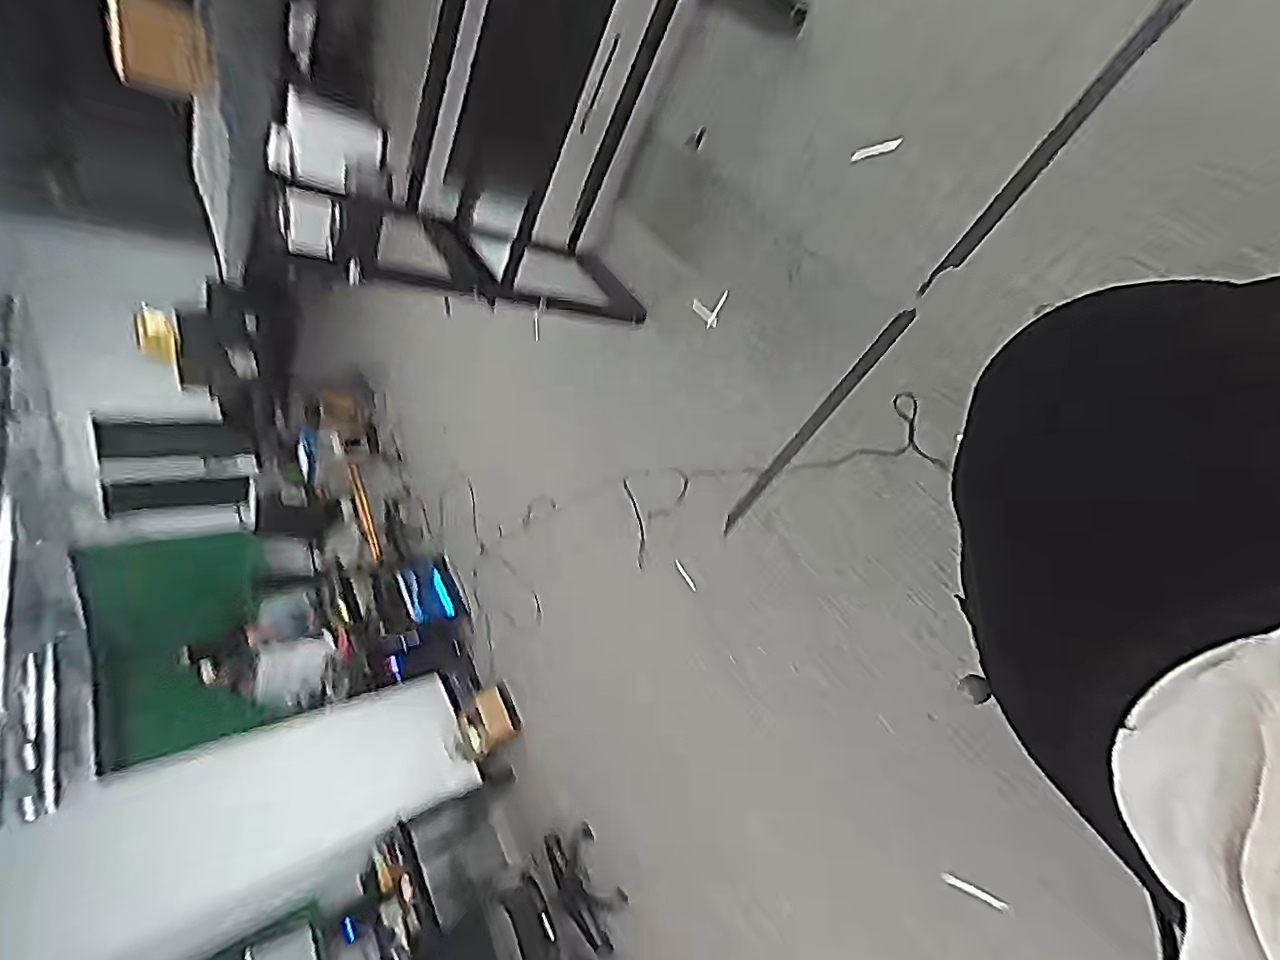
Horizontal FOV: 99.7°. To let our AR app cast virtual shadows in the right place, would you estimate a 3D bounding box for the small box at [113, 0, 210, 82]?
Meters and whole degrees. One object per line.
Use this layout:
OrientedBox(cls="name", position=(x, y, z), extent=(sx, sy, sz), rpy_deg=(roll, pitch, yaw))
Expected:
OrientedBox(cls="small box", position=(-1.172, -1.115, 1.324), extent=(0.179, 0.176, 0.168), rpy_deg=(48, 128, 32))
